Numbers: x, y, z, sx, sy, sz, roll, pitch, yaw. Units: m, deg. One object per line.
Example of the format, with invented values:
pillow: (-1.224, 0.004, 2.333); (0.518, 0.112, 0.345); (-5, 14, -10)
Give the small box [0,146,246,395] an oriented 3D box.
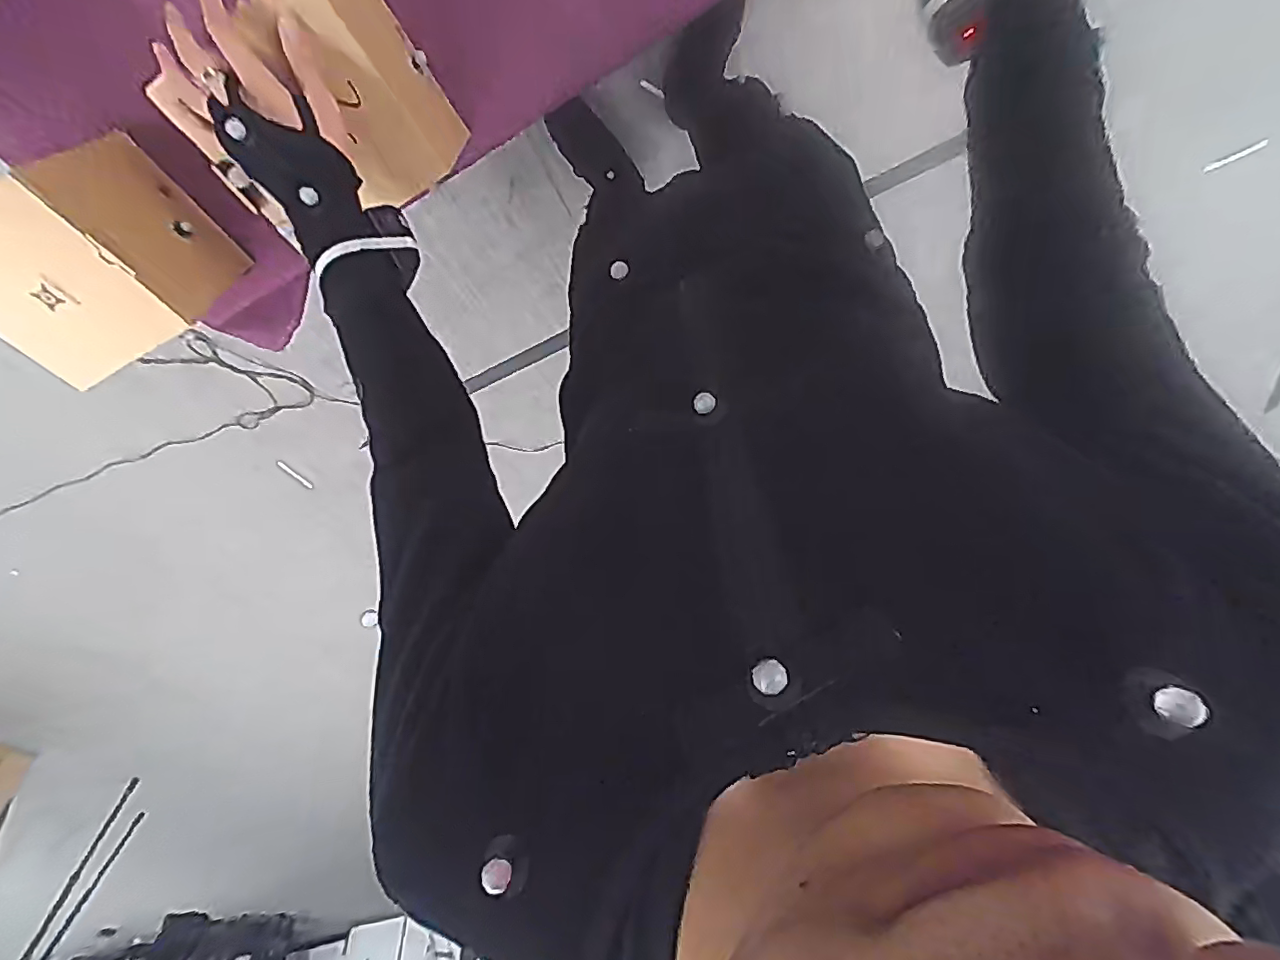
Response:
small box: (-0.594, -0.233, 0.601); (0.179, 0.176, 0.168); (-24, 132, 13)
